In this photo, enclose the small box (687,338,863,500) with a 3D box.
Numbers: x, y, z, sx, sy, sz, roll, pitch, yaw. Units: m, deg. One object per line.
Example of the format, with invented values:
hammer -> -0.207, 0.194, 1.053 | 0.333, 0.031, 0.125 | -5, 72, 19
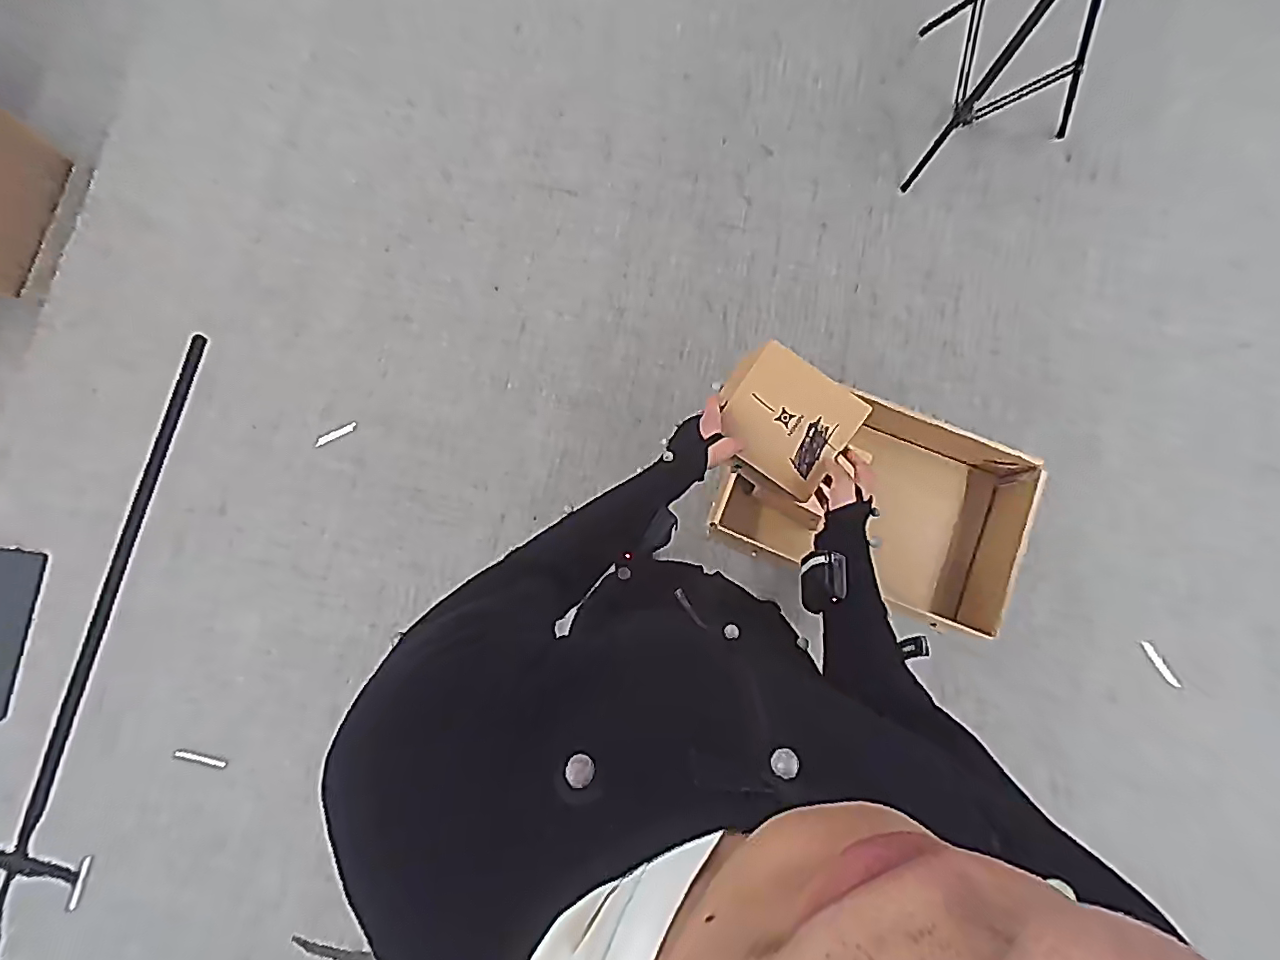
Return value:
small box -> 0.196, -0.092, 0.838 | 0.179, 0.176, 0.168 | 34, 91, -6
